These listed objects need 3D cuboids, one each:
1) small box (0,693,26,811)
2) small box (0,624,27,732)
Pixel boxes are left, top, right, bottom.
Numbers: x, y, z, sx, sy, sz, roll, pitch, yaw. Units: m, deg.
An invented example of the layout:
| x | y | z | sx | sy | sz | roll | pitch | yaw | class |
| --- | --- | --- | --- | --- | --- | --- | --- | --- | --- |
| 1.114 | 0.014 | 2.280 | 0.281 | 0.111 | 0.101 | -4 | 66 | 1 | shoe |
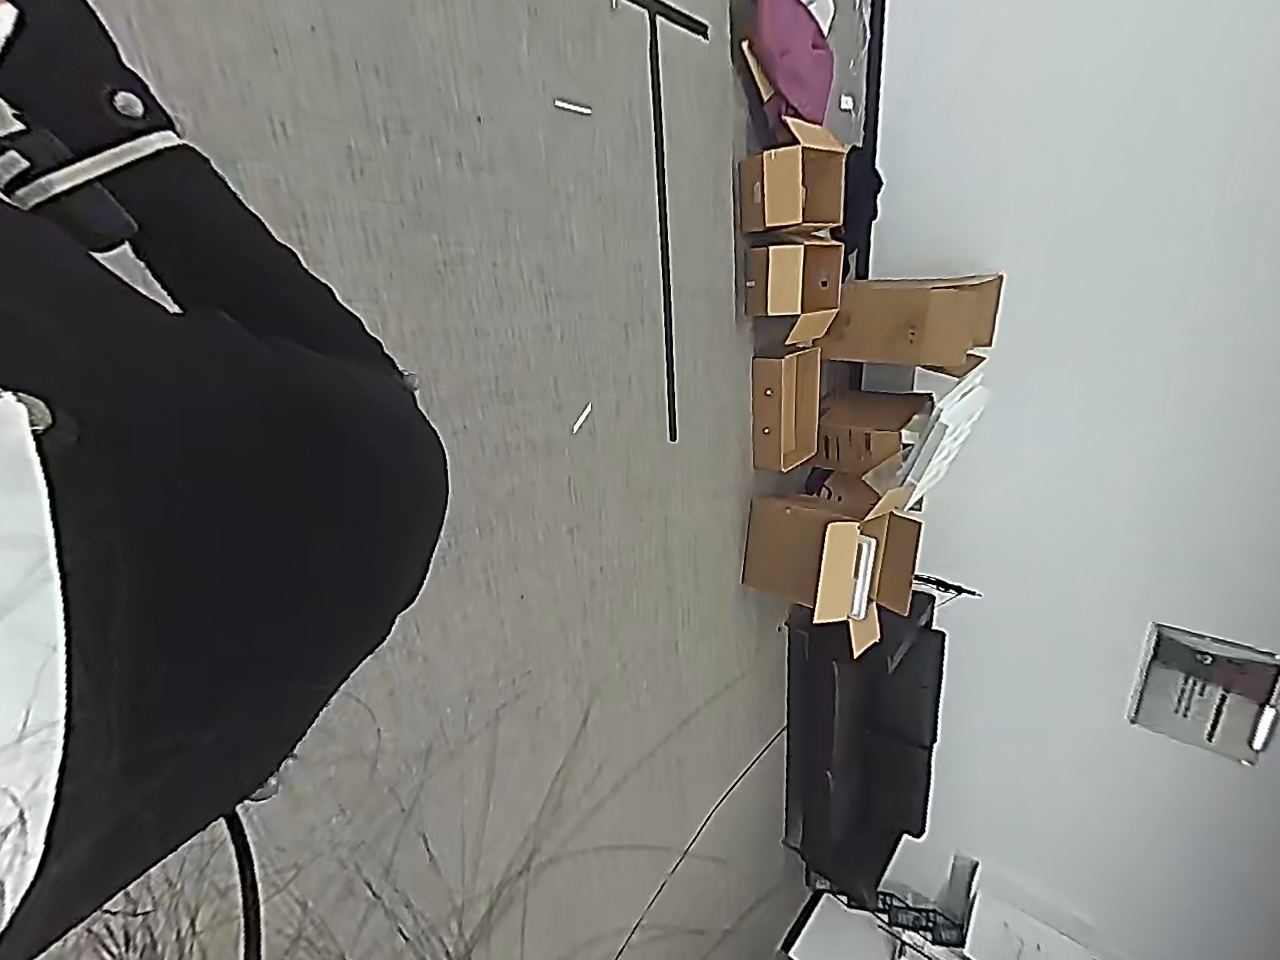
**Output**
| x | y | z | sx | sy | sz | roll | pitch | yaw | class |
| --- | --- | --- | --- | --- | --- | --- | --- | --- | --- |
| -1.020 | 0.395 | 0.765 | 0.168 | 0.176 | 0.179 | -24 | 118 | -42 | small box |
| -1.138 | 0.349 | 0.873 | 0.168 | 0.176 | 0.179 | -18 | 113 | -44 | small box |
